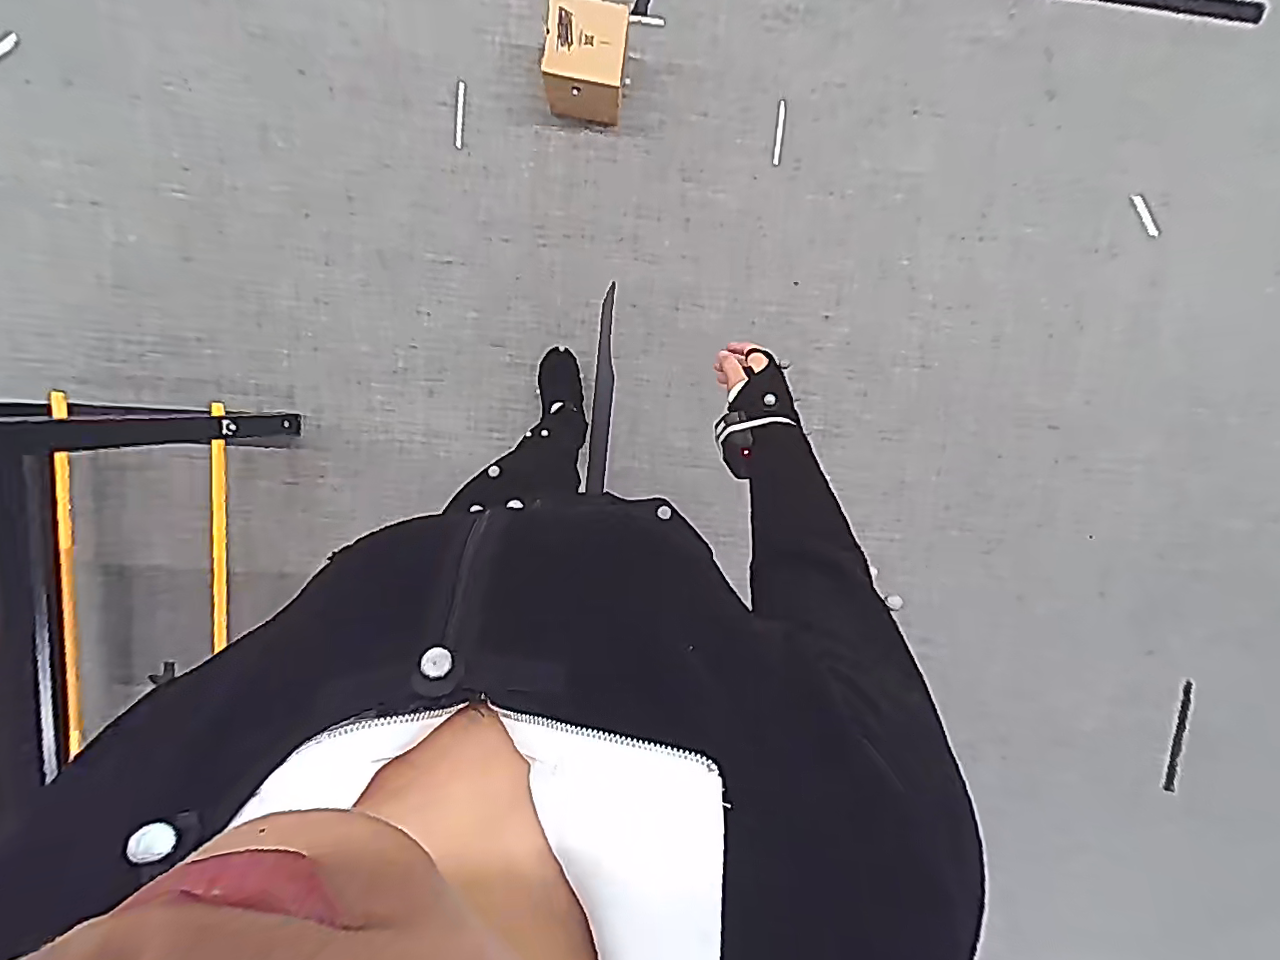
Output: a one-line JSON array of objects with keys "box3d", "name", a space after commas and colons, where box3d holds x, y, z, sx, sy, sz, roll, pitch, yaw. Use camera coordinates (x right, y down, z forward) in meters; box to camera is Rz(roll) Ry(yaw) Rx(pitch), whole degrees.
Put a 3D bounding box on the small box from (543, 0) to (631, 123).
[{"box3d": [-0.120, -0.967, 1.256, 0.179, 0.176, 0.168, 8, 97, -4], "name": "small box"}]
